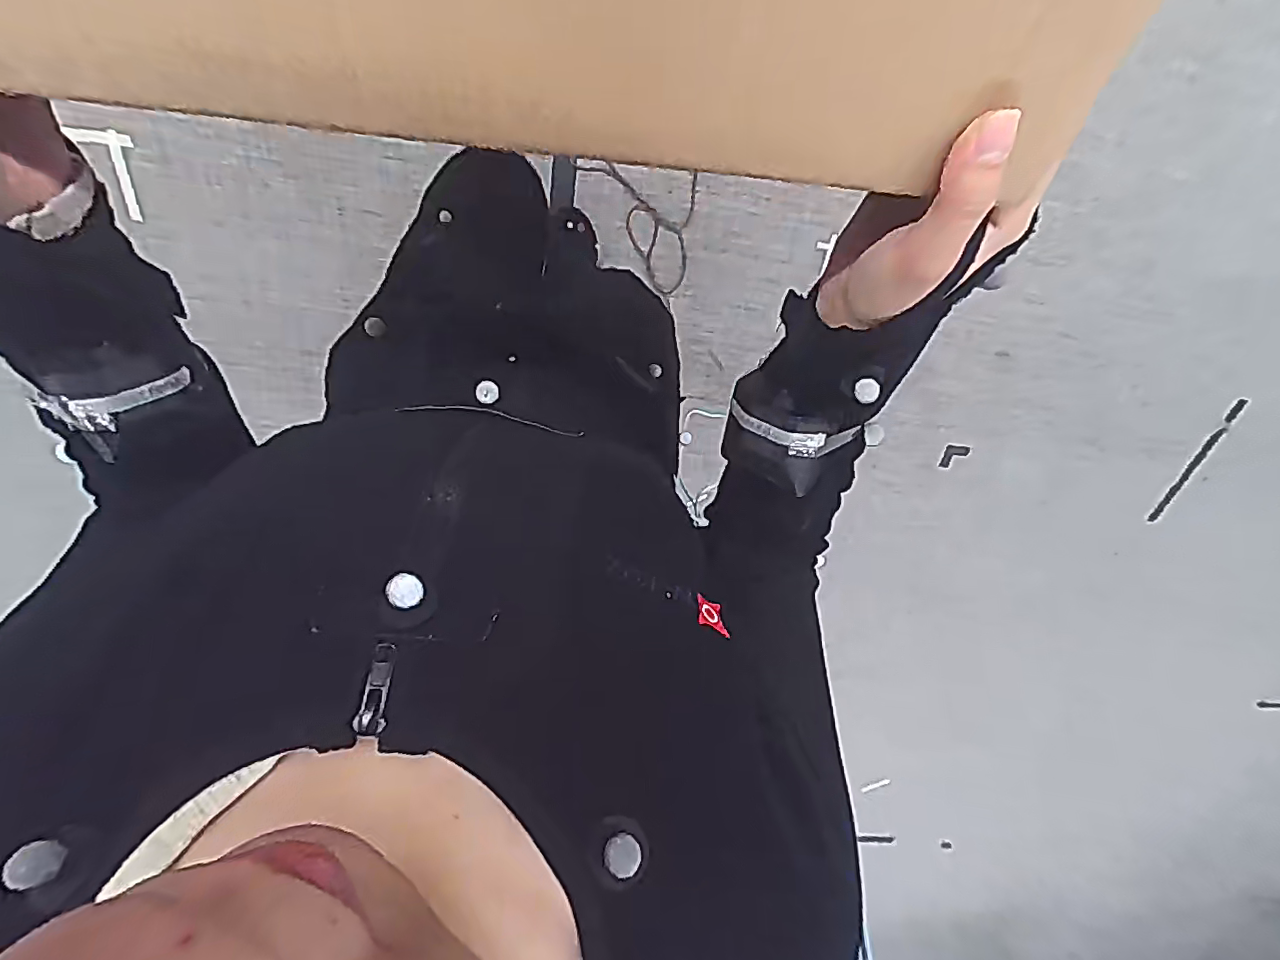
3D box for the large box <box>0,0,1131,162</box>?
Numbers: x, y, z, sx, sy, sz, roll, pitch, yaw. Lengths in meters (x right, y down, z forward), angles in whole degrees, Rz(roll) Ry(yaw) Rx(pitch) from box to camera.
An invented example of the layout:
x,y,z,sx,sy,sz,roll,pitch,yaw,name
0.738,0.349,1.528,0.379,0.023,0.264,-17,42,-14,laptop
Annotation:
x,y,z,sx,sy,sz,roll,pitch,yaw,name
-0.038,-0.339,0.160,0.408,0.320,0.320,2,144,-6,large box
